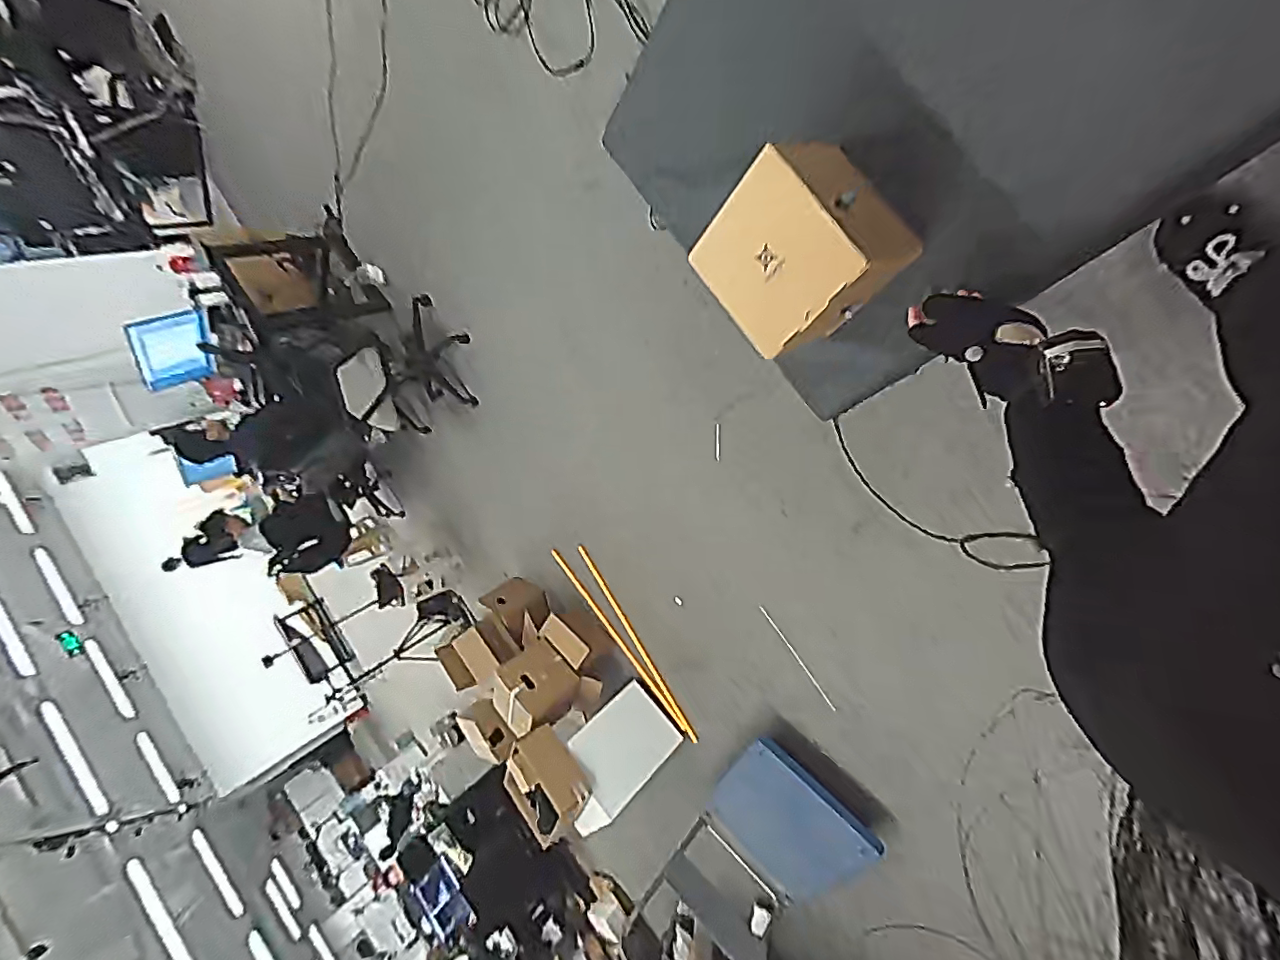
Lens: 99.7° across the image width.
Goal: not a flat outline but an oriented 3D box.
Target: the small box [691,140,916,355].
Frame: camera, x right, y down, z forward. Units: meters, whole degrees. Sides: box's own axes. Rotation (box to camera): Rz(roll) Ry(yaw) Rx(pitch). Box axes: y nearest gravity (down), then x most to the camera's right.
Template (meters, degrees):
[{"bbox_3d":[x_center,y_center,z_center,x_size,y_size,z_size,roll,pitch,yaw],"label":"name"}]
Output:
[{"bbox_3d":[0.205,-0.289,0.681,0.179,0.176,0.168,54,140,7],"label":"small box"}]
